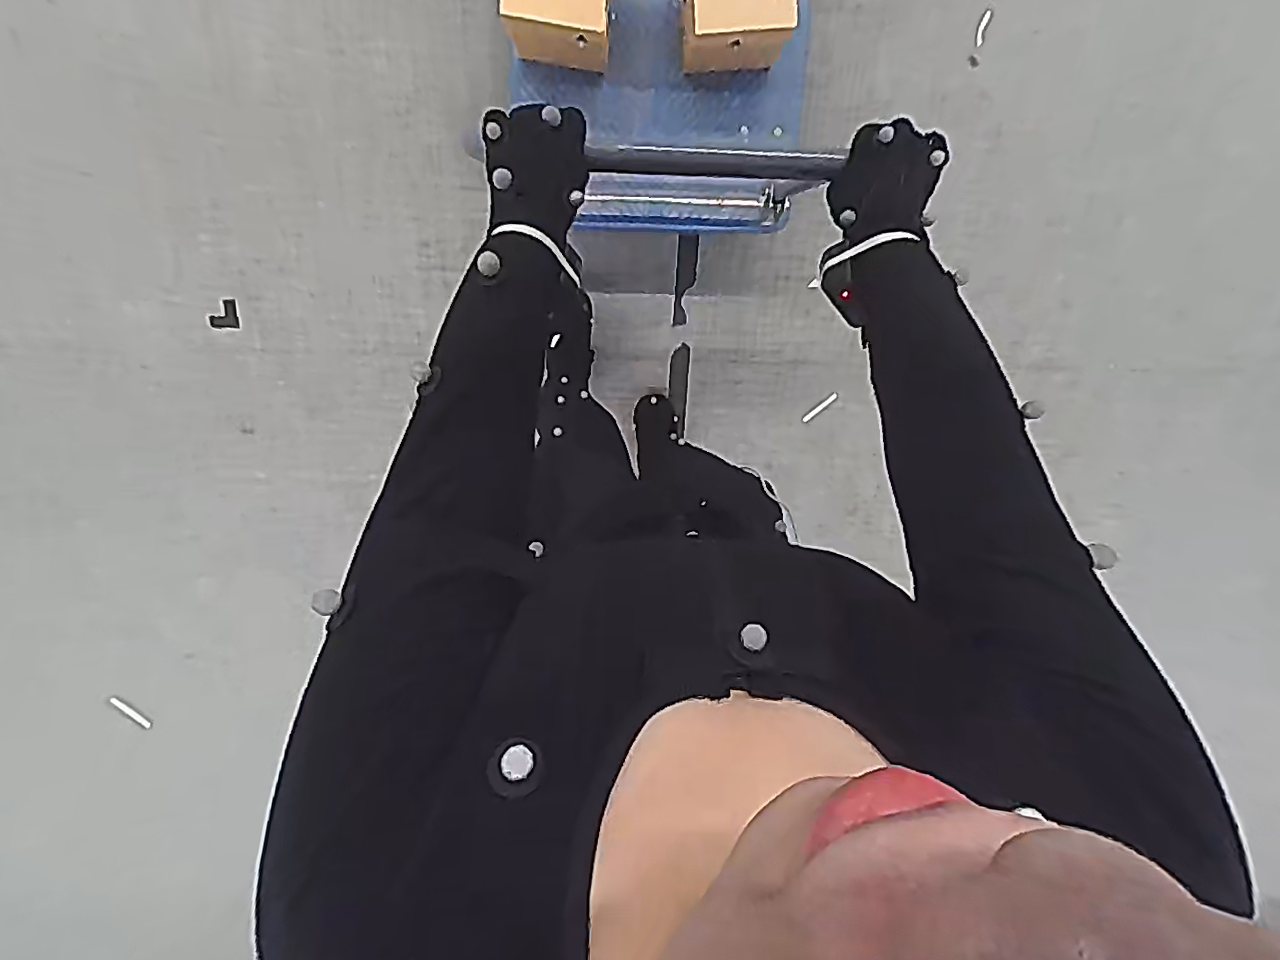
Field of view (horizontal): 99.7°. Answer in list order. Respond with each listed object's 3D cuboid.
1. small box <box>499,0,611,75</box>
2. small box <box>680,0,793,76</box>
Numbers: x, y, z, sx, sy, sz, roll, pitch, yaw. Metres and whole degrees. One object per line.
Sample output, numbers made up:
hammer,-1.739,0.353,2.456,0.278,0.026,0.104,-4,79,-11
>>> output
small box,-0.142,-0.848,0.950,0.179,0.176,0.168,5,108,-6
small box,0.164,-0.849,0.965,0.179,0.176,0.168,-5,109,-1
